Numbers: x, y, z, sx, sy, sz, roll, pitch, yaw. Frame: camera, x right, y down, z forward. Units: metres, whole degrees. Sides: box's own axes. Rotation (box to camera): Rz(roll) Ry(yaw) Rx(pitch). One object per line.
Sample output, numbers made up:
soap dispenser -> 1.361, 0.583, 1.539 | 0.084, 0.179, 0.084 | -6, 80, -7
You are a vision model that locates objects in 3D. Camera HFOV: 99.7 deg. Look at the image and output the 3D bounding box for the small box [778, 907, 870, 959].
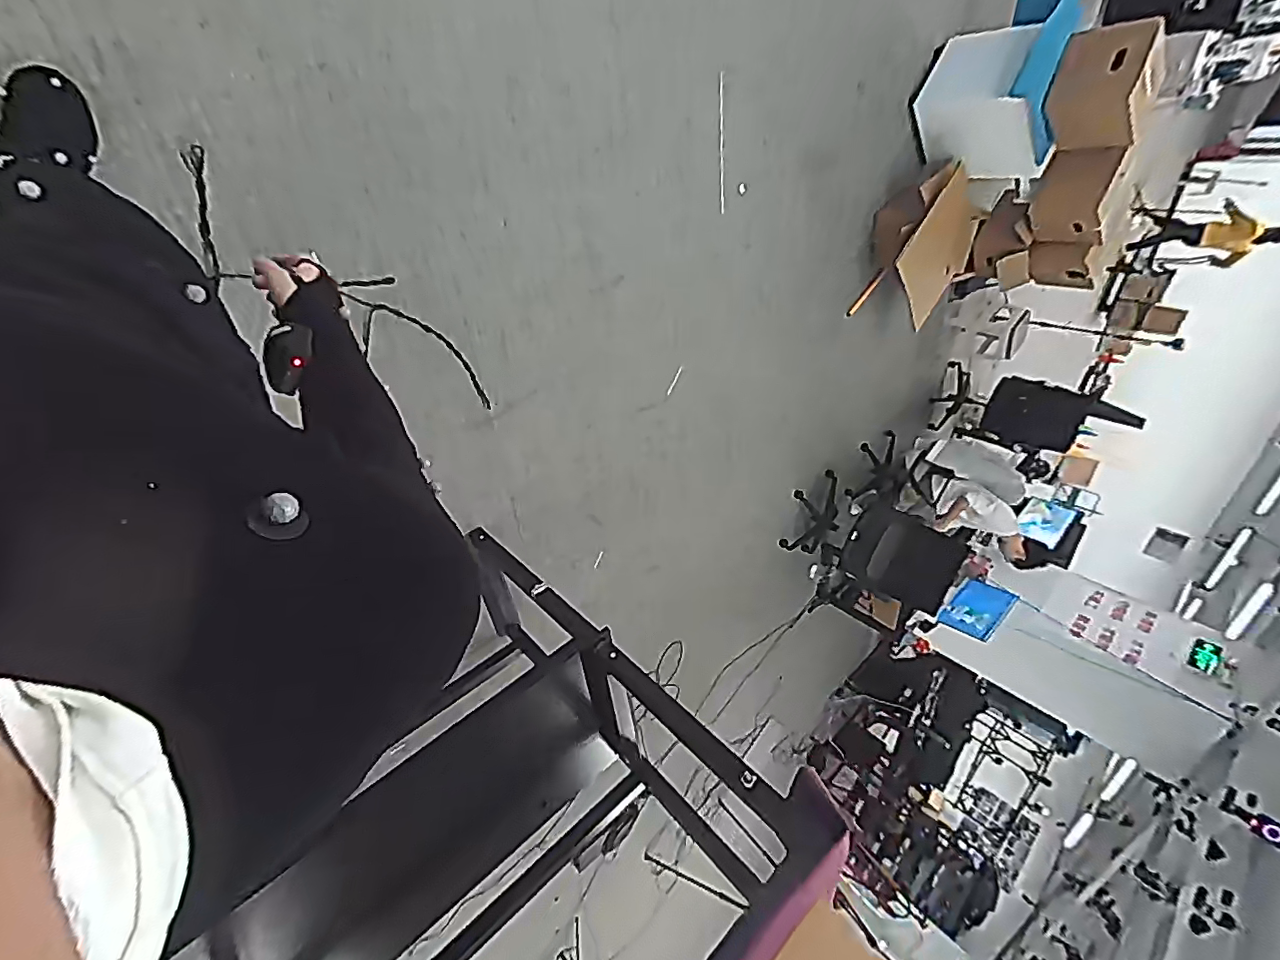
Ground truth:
small box -> 0.337, 0.934, 0.977 | 0.179, 0.176, 0.168 | -32, 132, -28
